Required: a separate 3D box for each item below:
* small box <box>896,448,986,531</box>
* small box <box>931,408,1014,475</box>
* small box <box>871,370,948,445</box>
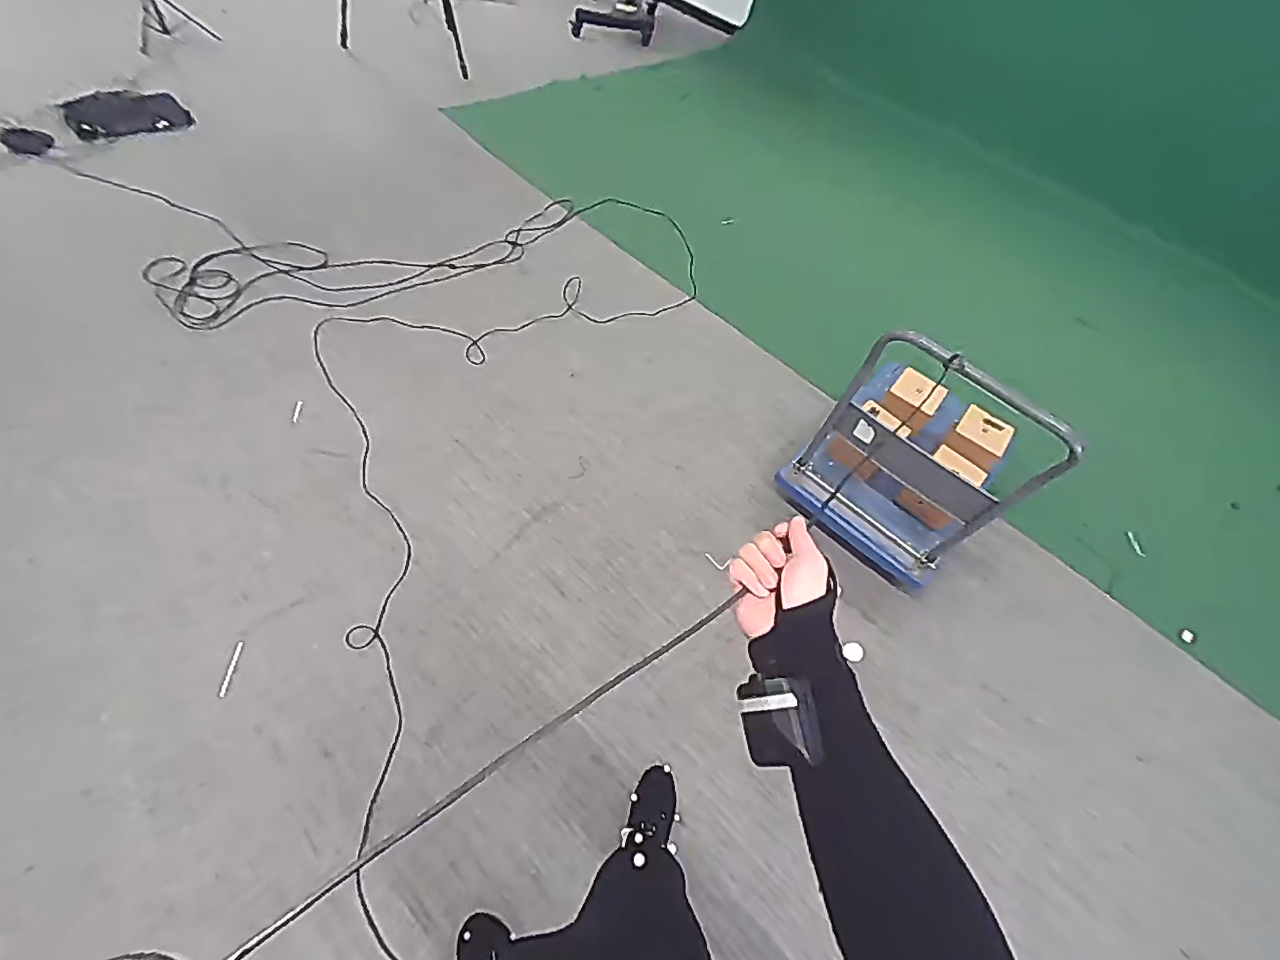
[{"bbox_3d":[0.986,0.033,1.783,0.168,0.176,0.179,42,60,18],"label":"small box"},{"bbox_3d":[1.170,-0.115,1.914,0.168,0.176,0.179,37,59,16],"label":"small box"},{"bbox_3d":[0.978,-0.262,1.981,0.168,0.176,0.179,38,59,15],"label":"small box"}]
